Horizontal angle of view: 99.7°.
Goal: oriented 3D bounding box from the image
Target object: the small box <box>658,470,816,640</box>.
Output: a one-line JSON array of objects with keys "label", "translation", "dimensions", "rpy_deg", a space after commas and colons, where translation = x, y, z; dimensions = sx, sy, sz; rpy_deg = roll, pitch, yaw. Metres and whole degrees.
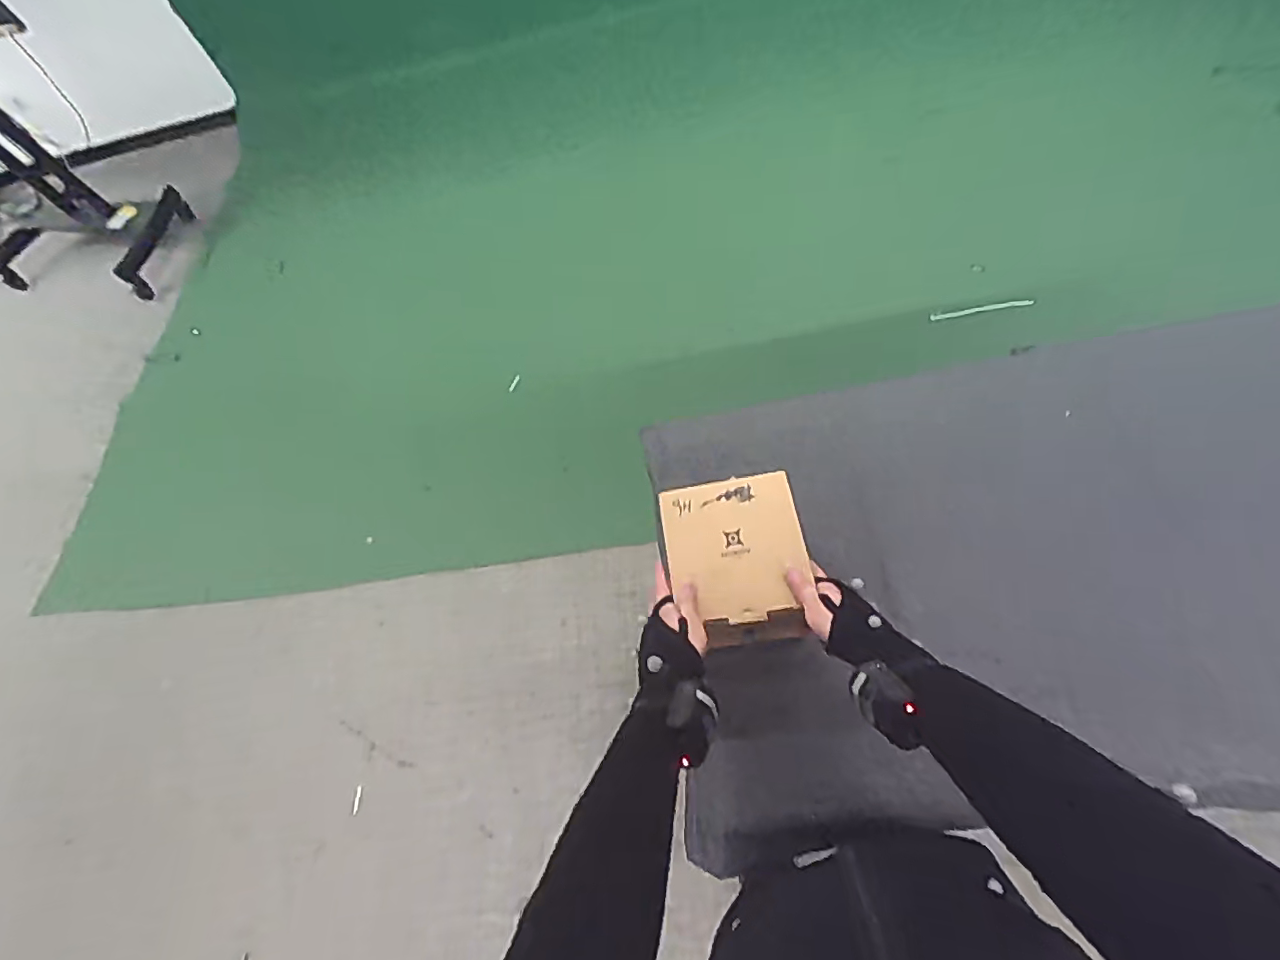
[{"label": "small box", "translation": [0.123, 0.110, 0.717], "dimensions": [0.168, 0.176, 0.179], "rpy_deg": [-9, 64, 5]}]
